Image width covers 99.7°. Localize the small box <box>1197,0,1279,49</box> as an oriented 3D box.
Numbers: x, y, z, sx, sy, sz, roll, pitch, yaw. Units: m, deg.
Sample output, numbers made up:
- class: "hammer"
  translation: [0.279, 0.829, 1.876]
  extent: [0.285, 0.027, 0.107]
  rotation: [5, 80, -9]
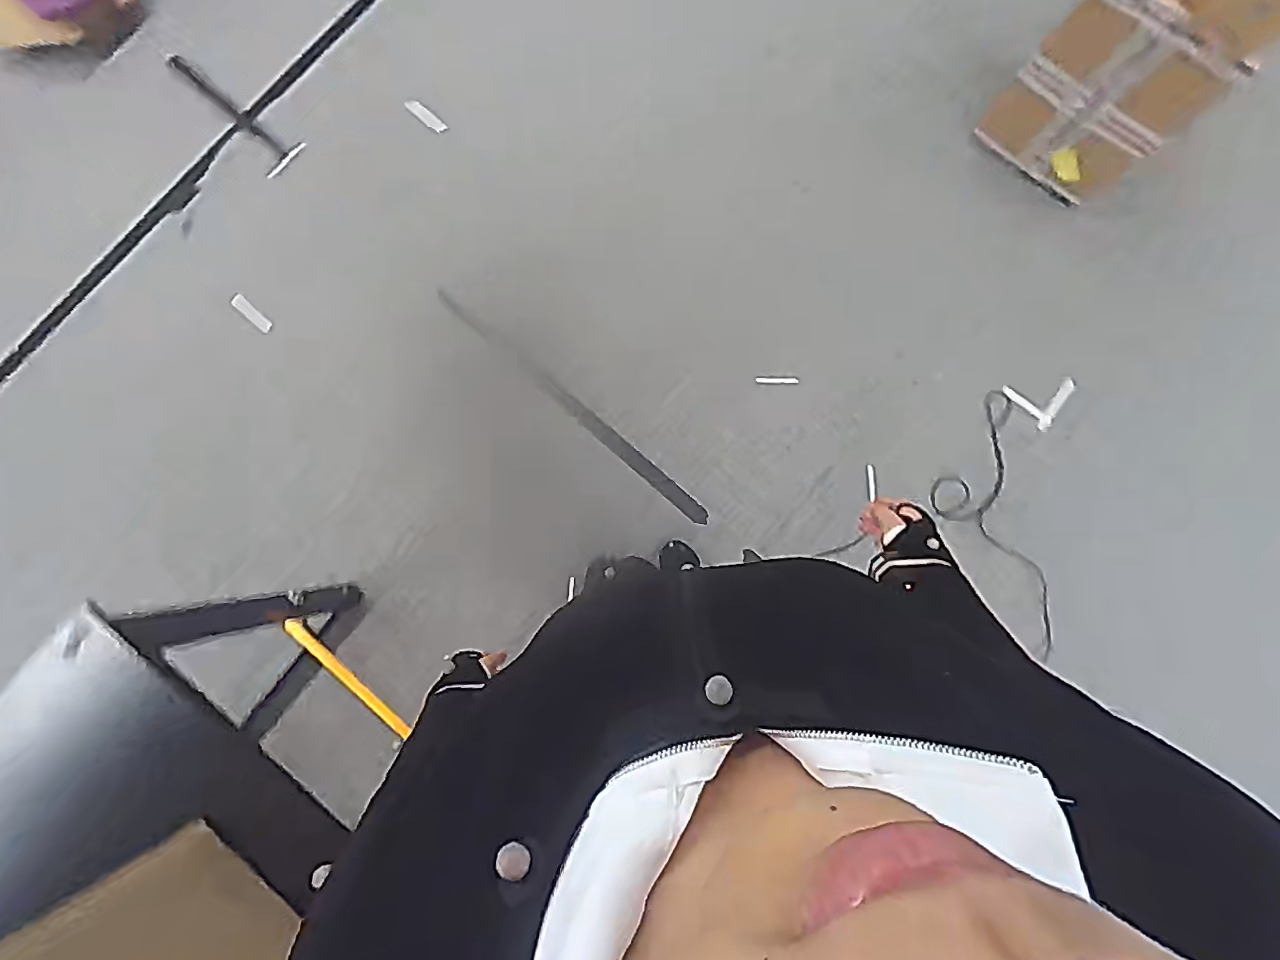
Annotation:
- class: "small box"
  translation: [1.275, -1.015, 1.062]
  extent: [0.168, 0.176, 0.179]
  rotation: [40, 88, 4]
